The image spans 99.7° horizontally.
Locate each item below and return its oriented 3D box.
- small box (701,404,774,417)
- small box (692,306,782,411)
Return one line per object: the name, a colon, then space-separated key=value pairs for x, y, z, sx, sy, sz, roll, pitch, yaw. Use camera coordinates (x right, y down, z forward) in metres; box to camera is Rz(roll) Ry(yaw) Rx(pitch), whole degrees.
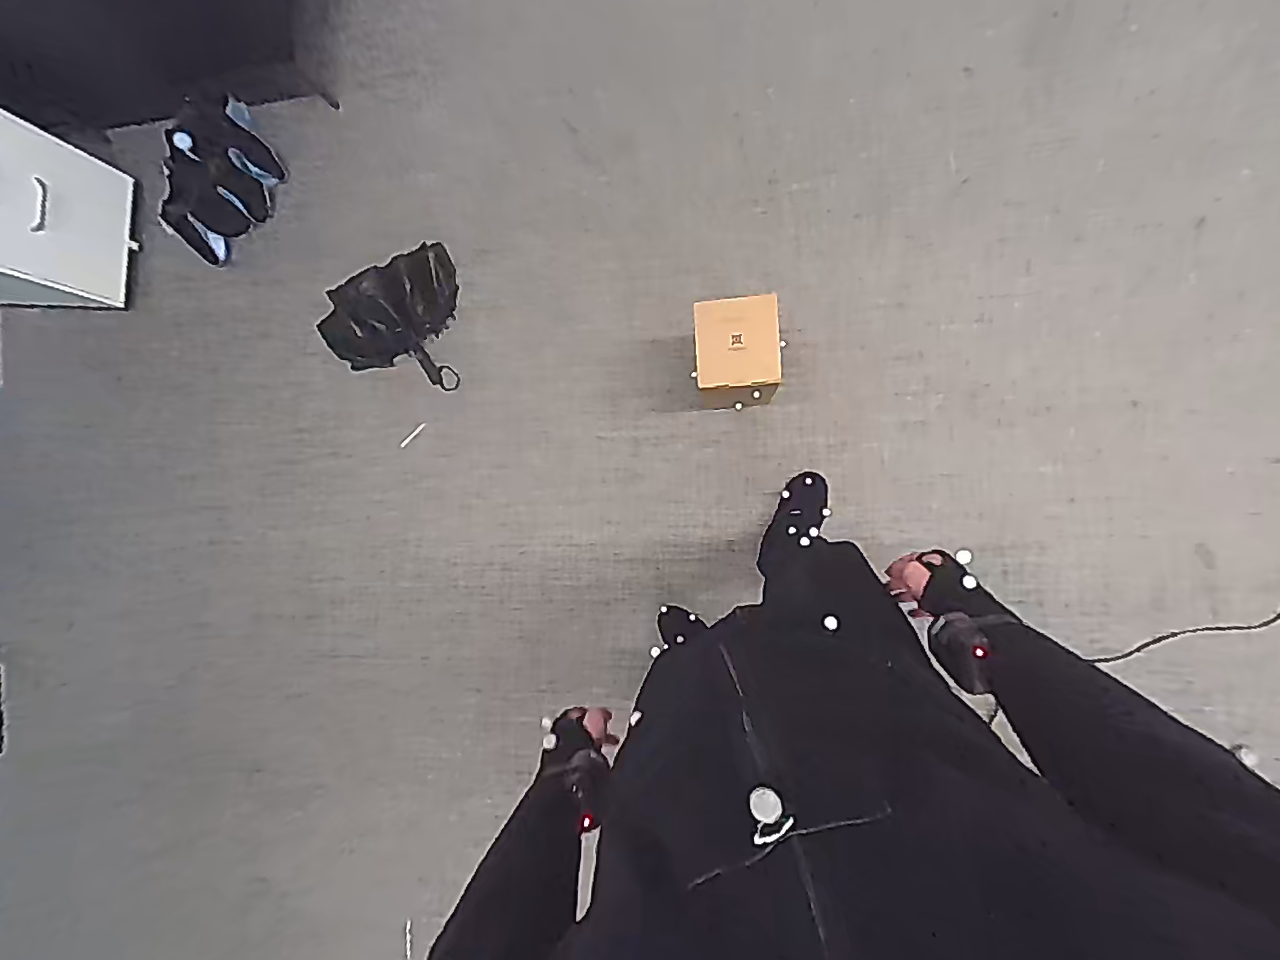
small box: x=0.227 y=-0.244 z=1.282 sx=0.168 sy=0.176 sz=0.179 roll=-5 pitch=89 yaw=10
small box: x=0.200 y=-0.242 z=1.121 sx=0.168 sy=0.176 sz=0.179 roll=-4 pitch=88 yaw=9
